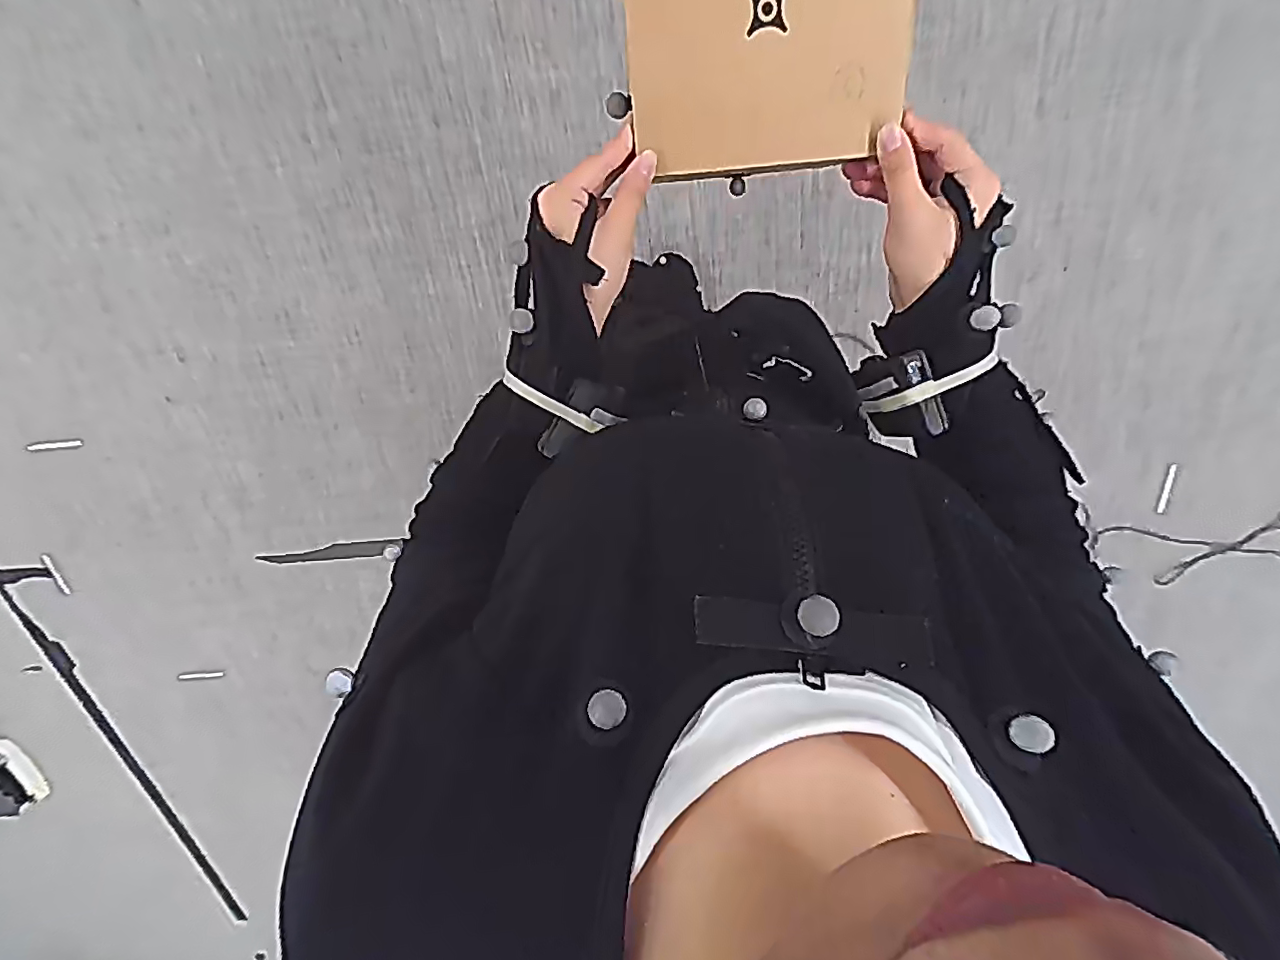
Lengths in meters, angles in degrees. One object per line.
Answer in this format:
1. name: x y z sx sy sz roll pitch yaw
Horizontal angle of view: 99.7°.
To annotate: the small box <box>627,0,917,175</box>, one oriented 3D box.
1. small box: 0.076 -0.315 0.374 0.168 0.176 0.179 -4 117 3
